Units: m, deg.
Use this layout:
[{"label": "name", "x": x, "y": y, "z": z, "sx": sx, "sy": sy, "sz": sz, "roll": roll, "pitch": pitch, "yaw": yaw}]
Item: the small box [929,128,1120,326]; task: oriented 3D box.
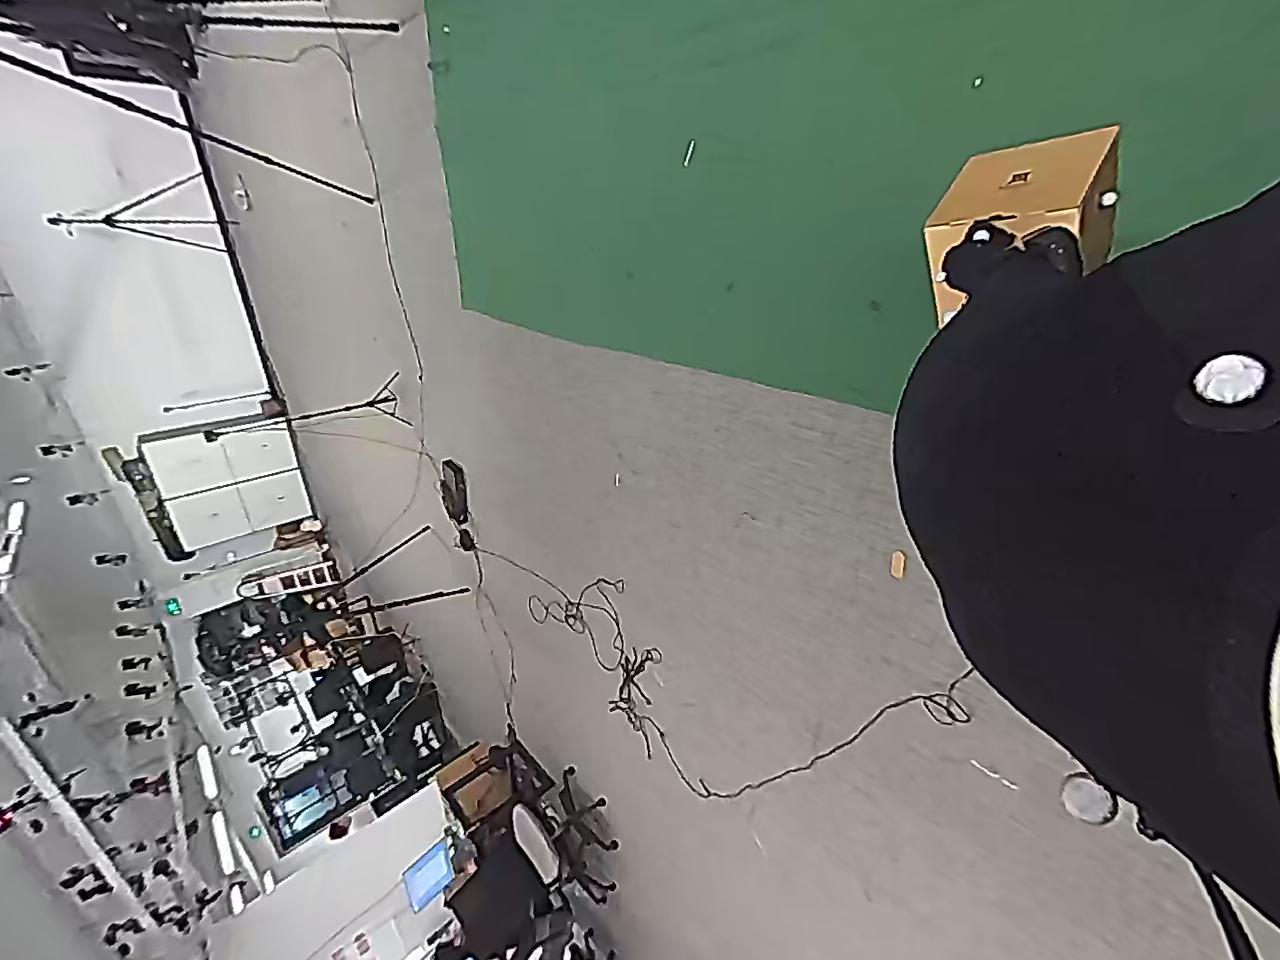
[{"label": "small box", "x": 0.523, "y": -0.334, "z": 0.741, "sx": 0.168, "sy": 0.179, "sz": 0.176, "roll": 16, "pitch": 152, "yaw": 46}]
